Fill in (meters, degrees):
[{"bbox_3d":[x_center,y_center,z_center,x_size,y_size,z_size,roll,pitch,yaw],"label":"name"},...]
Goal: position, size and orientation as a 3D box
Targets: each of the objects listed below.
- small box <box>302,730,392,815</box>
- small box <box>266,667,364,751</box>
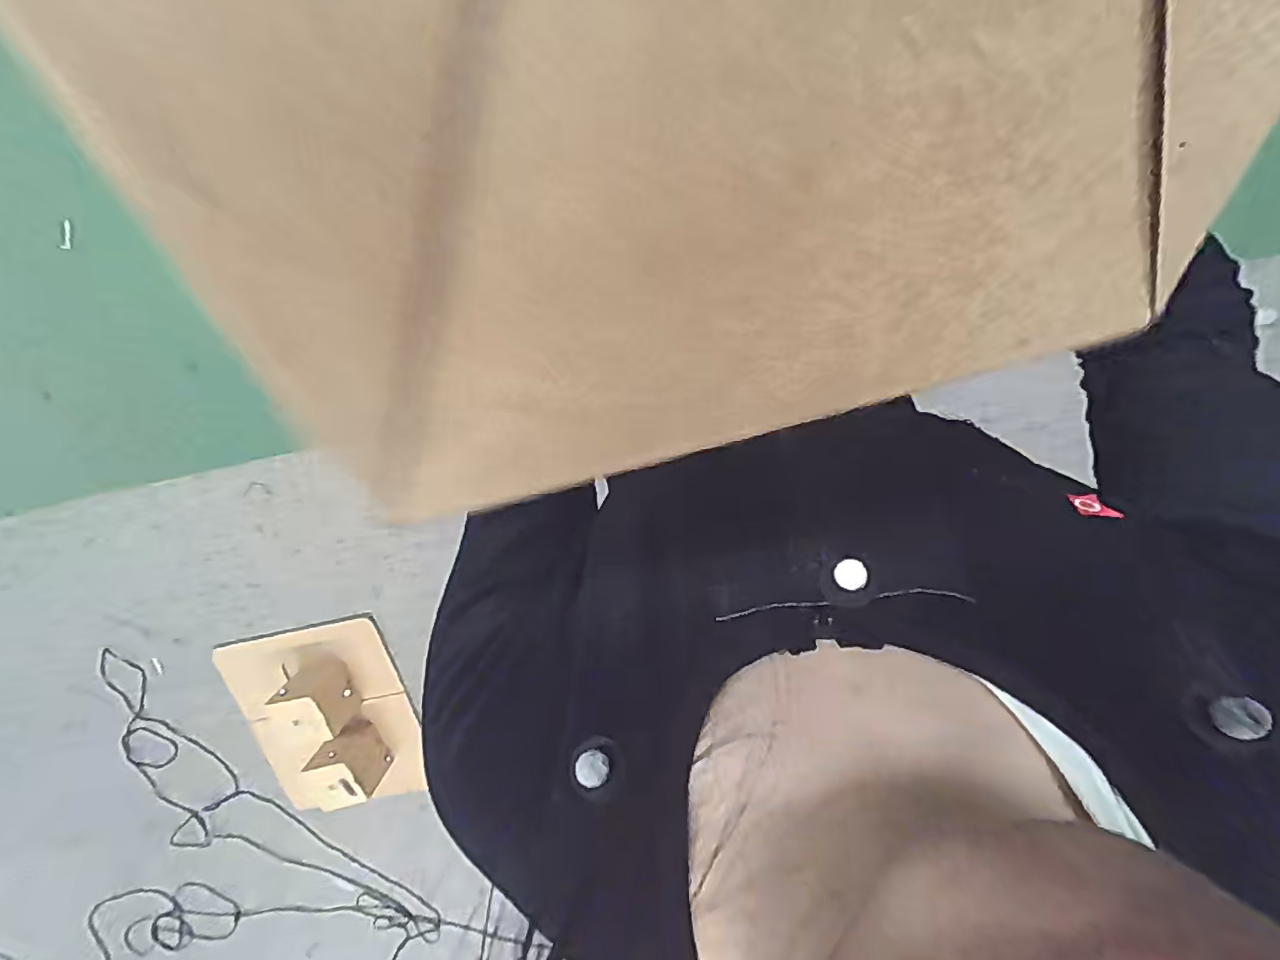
[{"bbox_3d":[-0.951,0.957,1.779,0.179,0.176,0.168,-18,104,10],"label":"small box"},{"bbox_3d":[-1.025,0.723,1.719,0.179,0.176,0.168,-13,106,8],"label":"small box"}]
